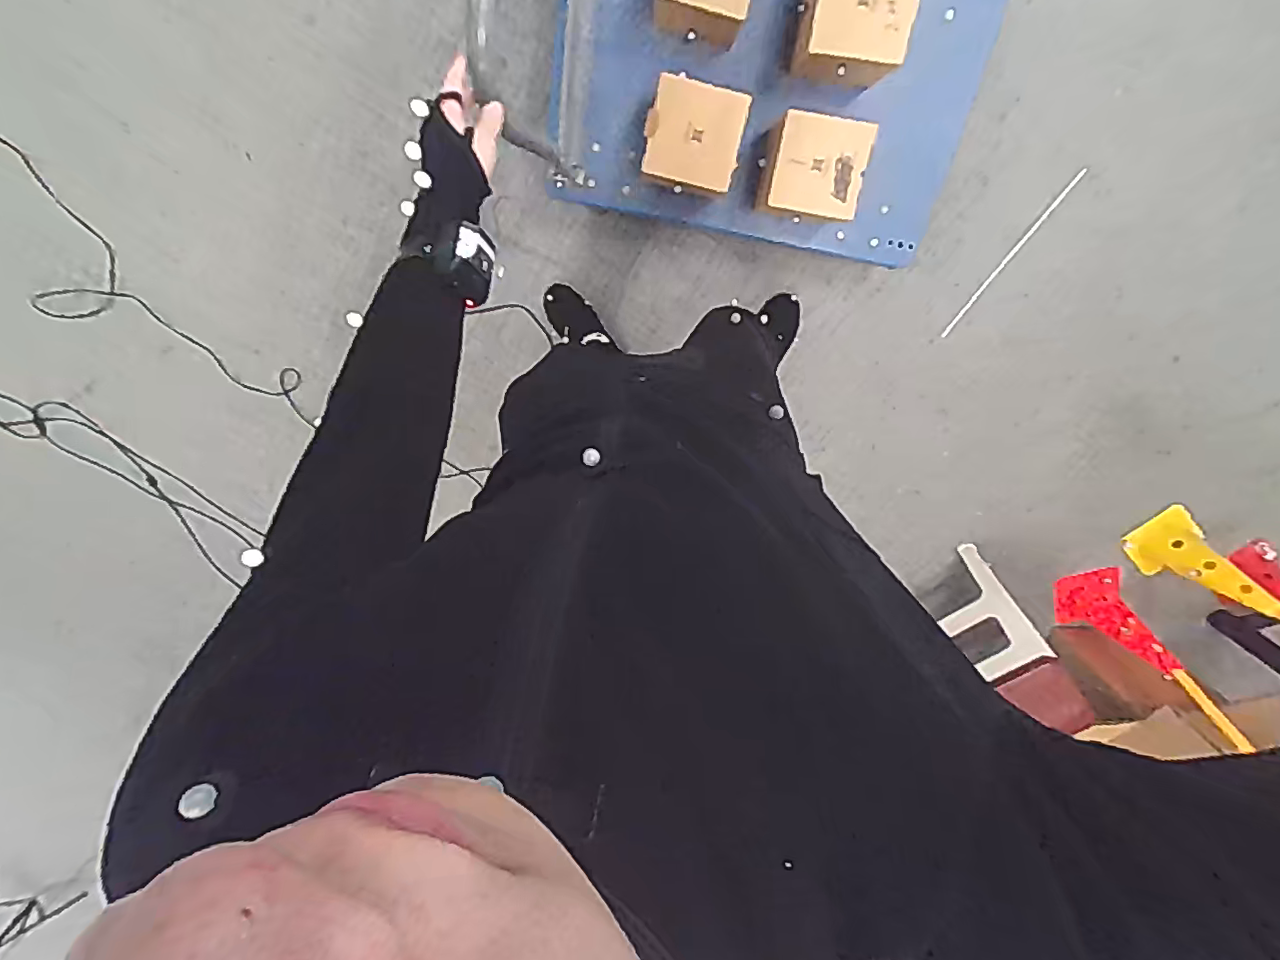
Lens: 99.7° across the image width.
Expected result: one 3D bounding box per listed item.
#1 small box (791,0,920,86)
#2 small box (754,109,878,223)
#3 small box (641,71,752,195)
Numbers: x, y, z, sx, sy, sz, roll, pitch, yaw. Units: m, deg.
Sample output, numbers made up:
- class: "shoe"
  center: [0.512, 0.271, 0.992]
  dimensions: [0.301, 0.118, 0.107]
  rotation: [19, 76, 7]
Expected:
- class: "small box"
  center: [0.397, -0.859, 1.004]
  dimensions: [0.179, 0.176, 0.168]
  rotation: [7, 115, -2]
- class: "small box"
  center: [0.348, -0.631, 1.106]
  dimensions: [0.179, 0.176, 0.168]
  rotation: [10, 113, -2]
- class: "small box"
  center: [0.106, -0.685, 1.089]
  dimensions: [0.179, 0.176, 0.168]
  rotation: [13, 114, -4]
